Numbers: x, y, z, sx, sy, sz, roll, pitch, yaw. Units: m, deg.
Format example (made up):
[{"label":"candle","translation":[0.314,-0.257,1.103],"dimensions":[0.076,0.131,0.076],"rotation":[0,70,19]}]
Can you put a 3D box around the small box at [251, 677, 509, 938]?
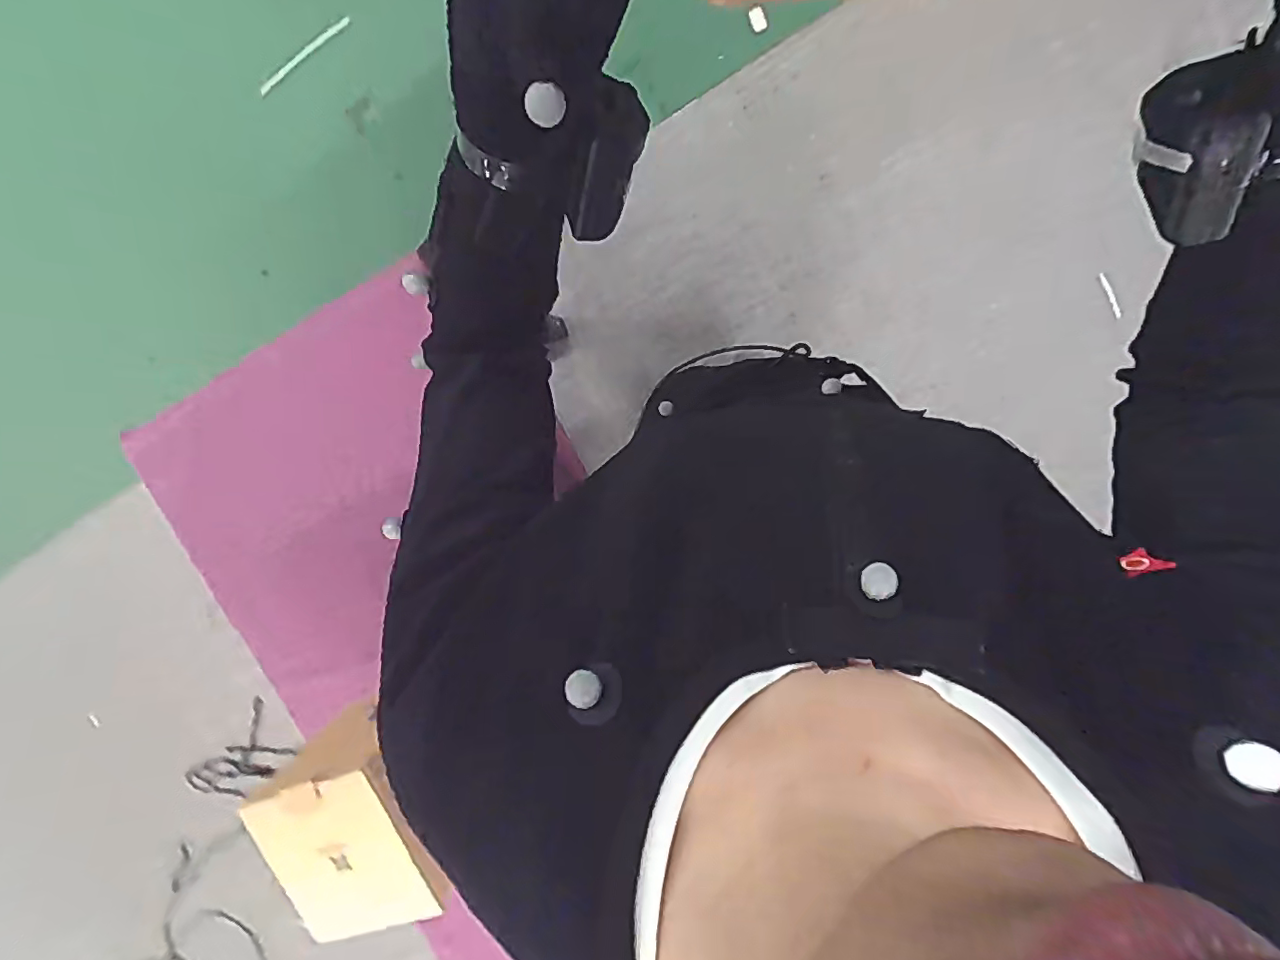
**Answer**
[{"label":"small box","translation":[-0.280,0.365,0.624],"dimensions":[0.168,0.176,0.179],"rotation":[-23,97,13]}]
